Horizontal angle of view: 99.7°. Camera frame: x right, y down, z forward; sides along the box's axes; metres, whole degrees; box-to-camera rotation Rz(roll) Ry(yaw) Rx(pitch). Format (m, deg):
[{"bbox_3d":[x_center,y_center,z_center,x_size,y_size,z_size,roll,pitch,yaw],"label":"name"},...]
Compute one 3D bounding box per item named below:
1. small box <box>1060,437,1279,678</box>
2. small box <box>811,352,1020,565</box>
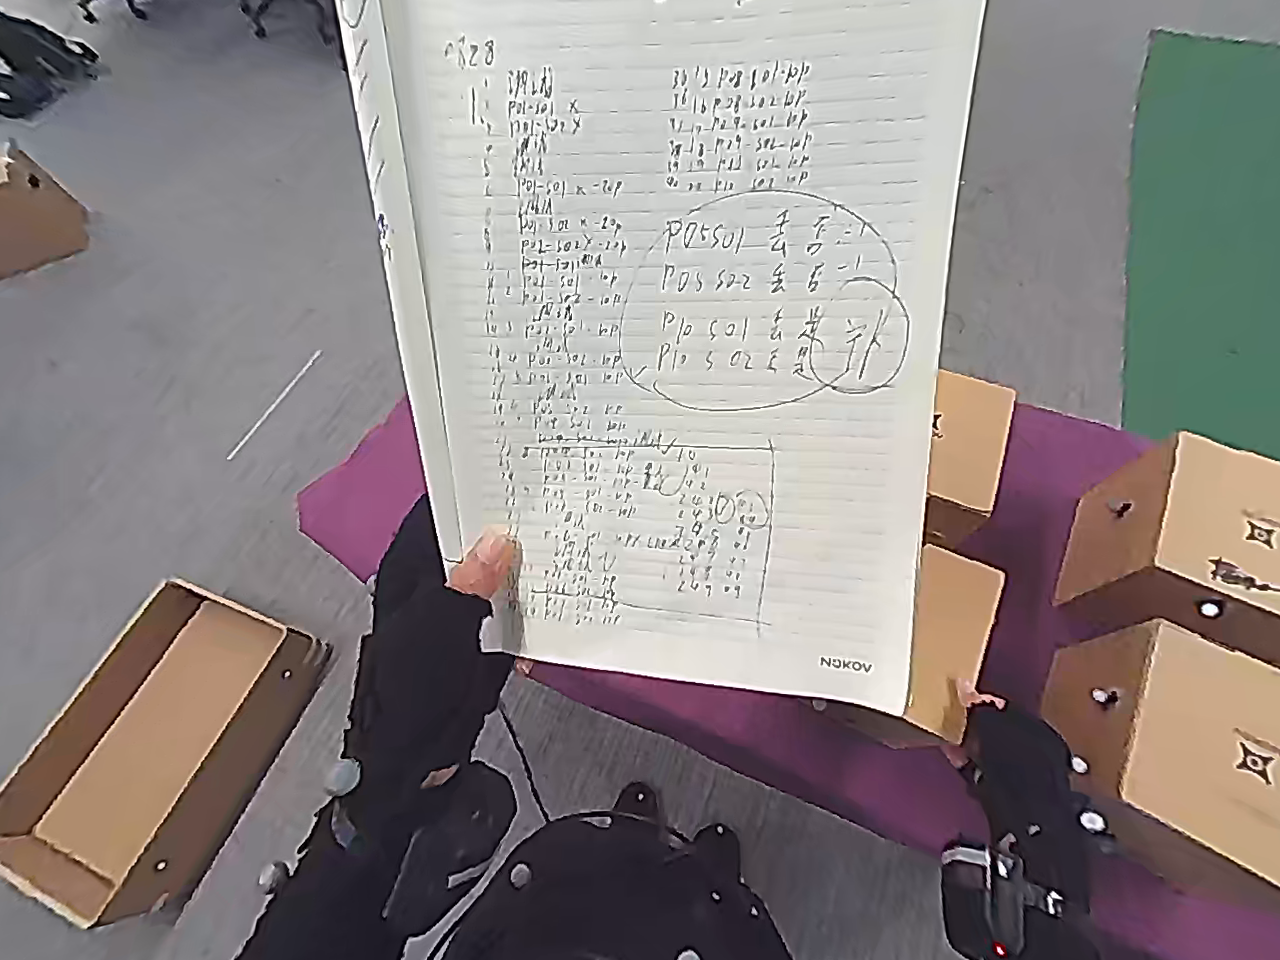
[{"bbox_3d":[0.610,0.091,0.595,0.168,0.176,0.179,26,67,17],"label":"small box"},{"bbox_3d":[0.329,-0.021,0.675,0.168,0.176,0.179,22,67,15],"label":"small box"}]
